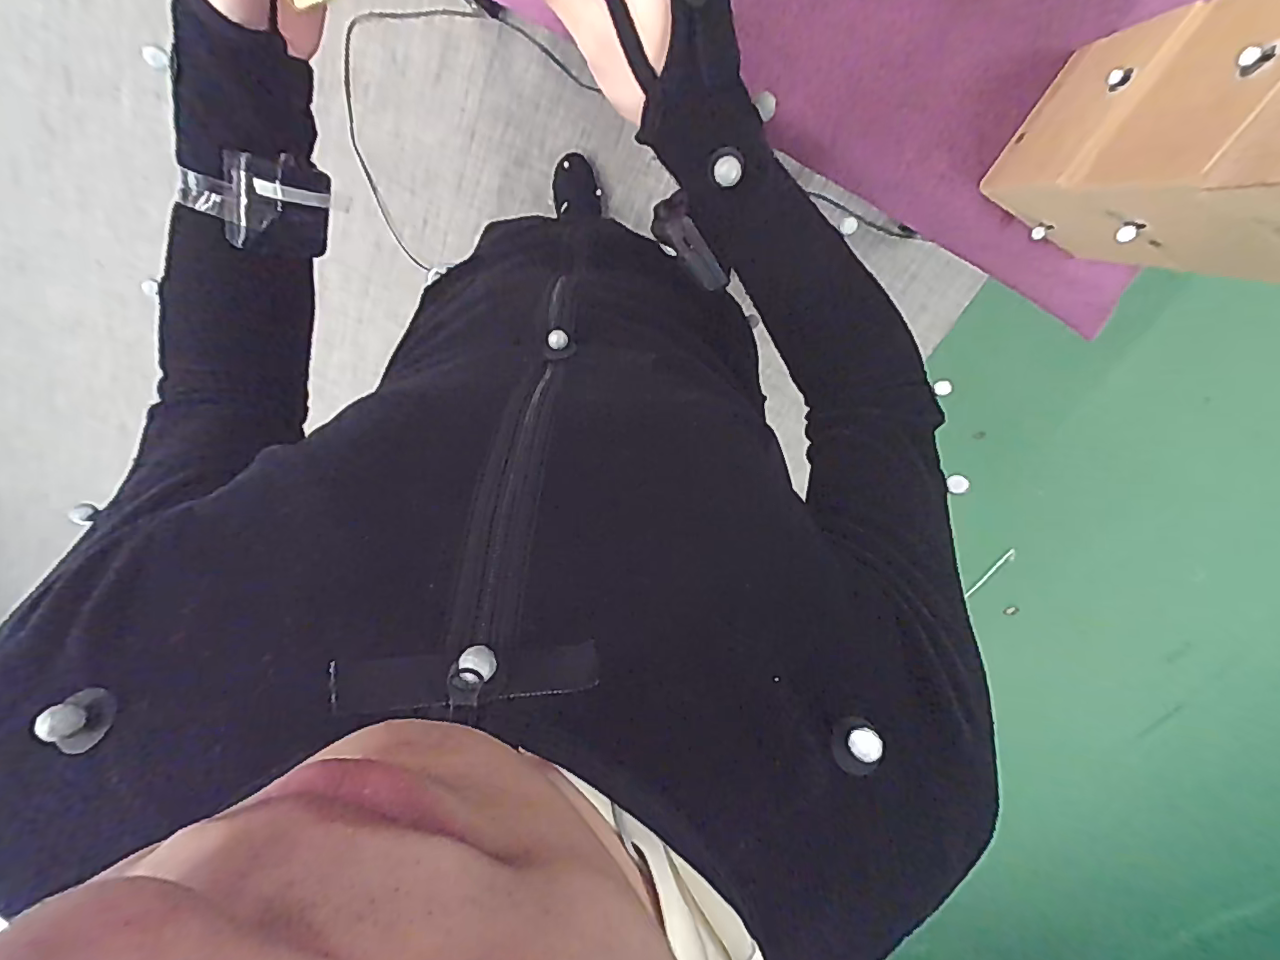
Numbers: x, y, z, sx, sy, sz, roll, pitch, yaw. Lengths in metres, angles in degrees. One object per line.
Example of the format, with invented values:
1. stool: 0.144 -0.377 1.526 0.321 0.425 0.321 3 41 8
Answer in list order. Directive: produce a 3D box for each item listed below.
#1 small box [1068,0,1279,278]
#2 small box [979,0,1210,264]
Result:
1. small box: 0.530 -0.295 0.455 0.168 0.176 0.179 28 116 -9
2. small box: 0.536 -0.368 0.601 0.179 0.176 0.168 27 115 -10
